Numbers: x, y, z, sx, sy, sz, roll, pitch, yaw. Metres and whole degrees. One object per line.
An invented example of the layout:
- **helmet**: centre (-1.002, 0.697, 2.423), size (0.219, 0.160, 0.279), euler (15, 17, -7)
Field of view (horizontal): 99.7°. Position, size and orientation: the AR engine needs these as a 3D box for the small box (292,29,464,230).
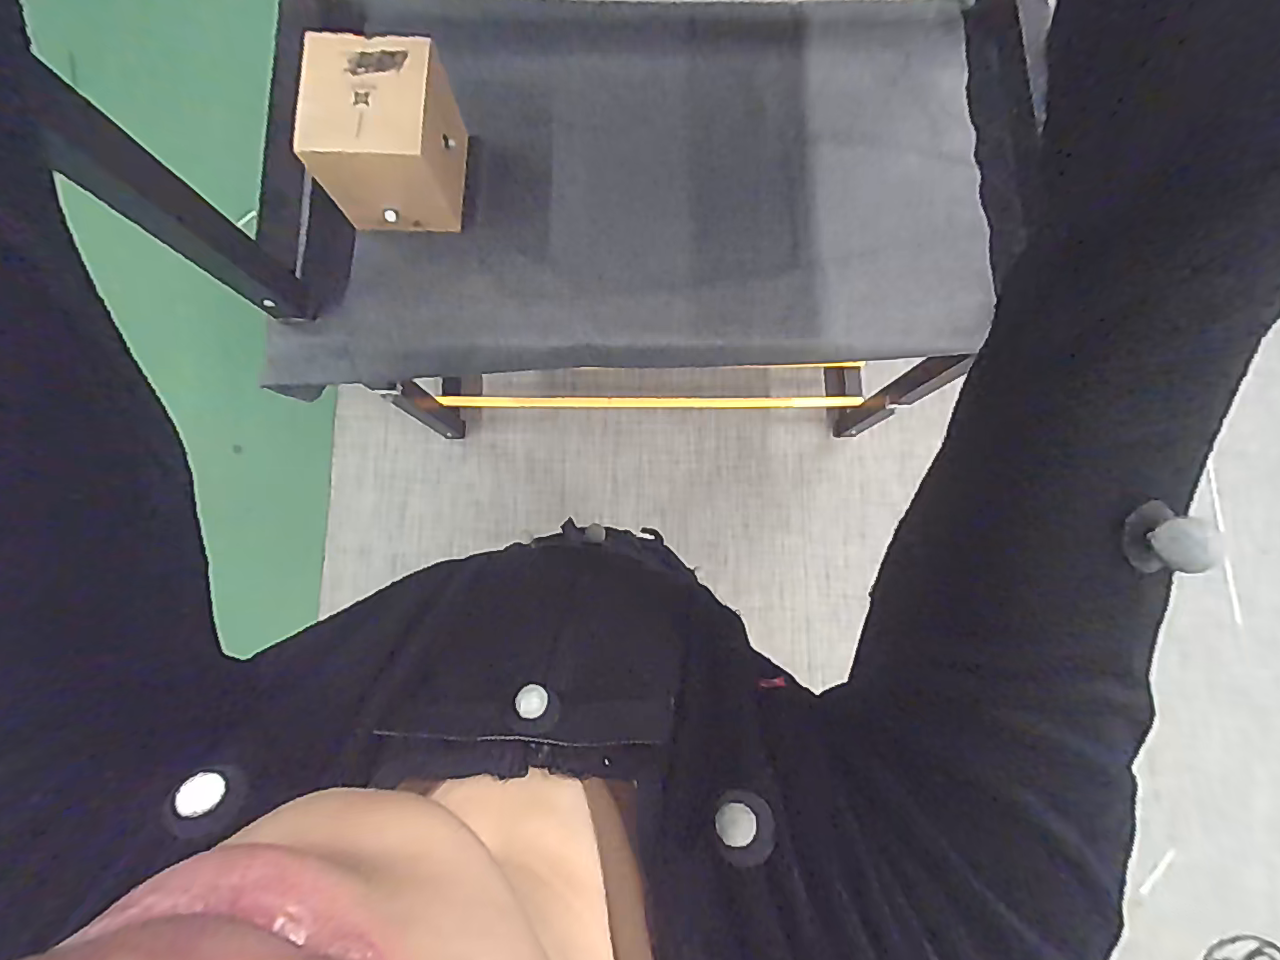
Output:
- **small box**: centre (-0.361, -0.493, 0.779), size (0.168, 0.176, 0.179), euler (1, 82, -1)
